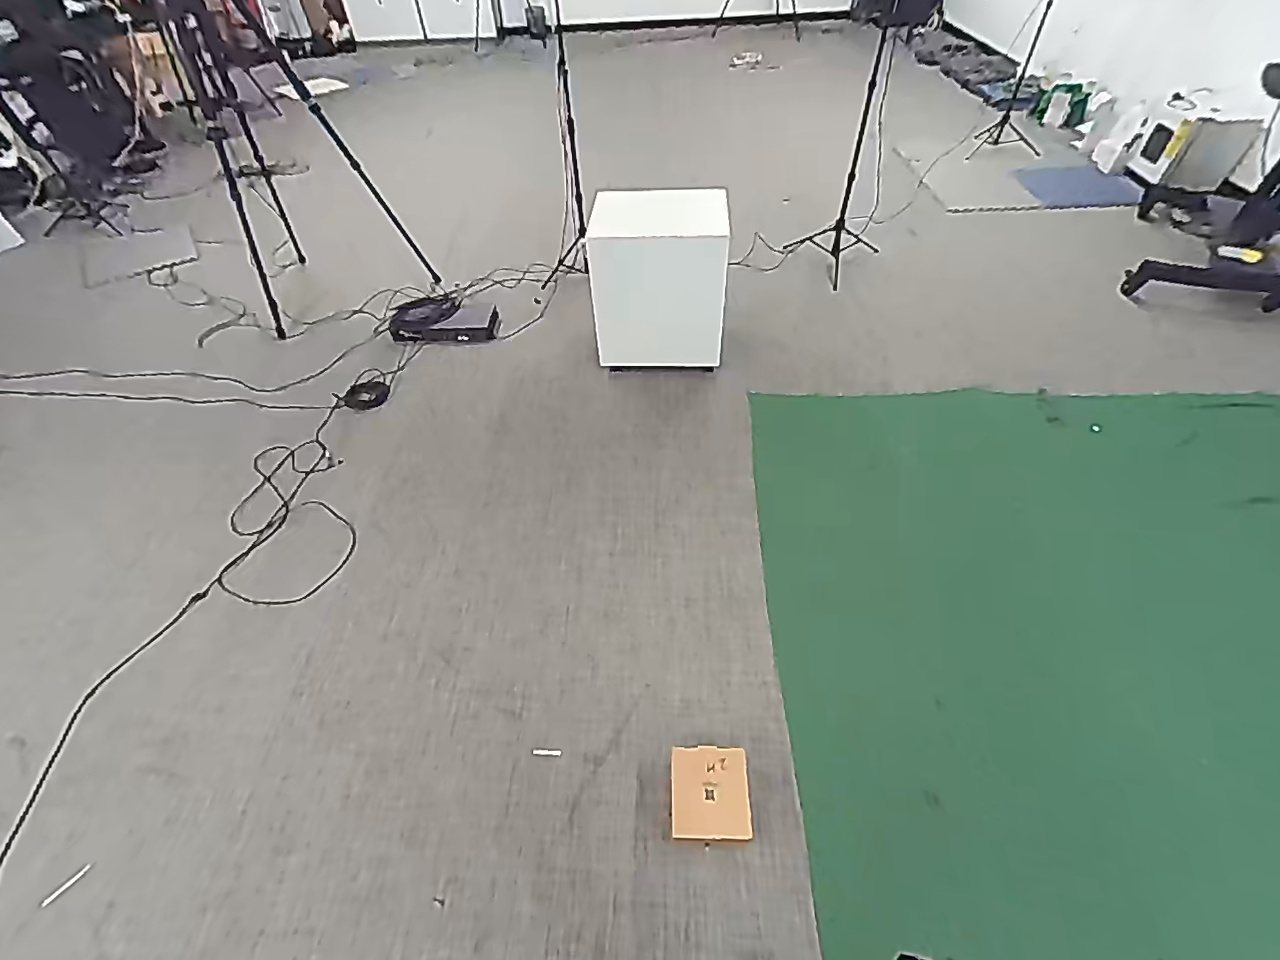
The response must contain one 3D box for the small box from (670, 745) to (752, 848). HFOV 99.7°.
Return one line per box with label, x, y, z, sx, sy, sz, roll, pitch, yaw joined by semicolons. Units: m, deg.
small box;0.152;0.710;1.209;0.168;0.176;0.179;0;50;2
